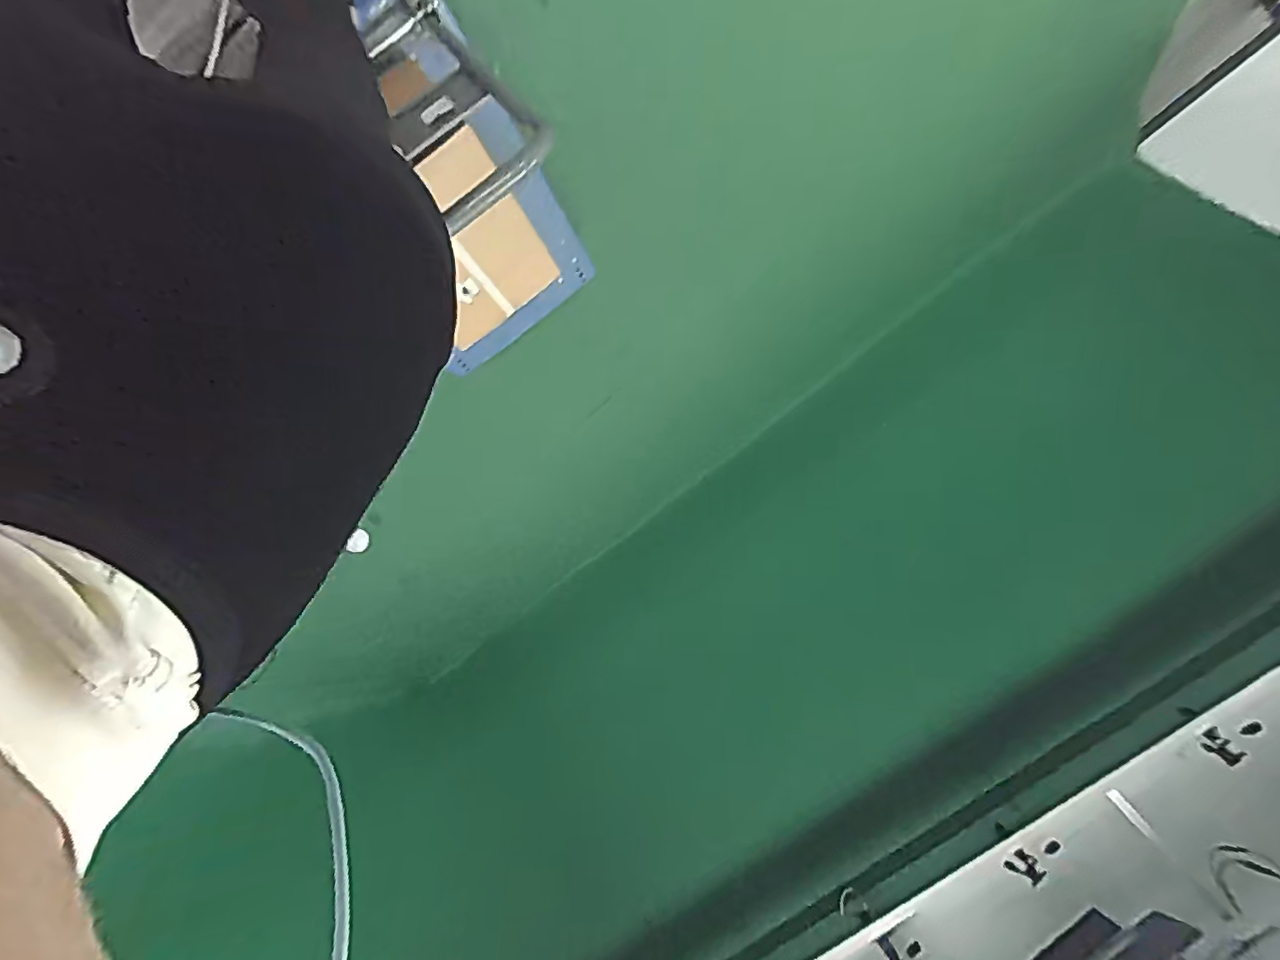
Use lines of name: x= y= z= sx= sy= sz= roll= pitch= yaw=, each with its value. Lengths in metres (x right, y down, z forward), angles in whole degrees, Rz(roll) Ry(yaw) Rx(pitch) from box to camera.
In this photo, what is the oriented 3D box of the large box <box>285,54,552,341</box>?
large box: x=-0.471 y=-0.601 z=1.204 sx=0.320 sy=0.320 sz=0.408 roll=-36 pitch=155 yaw=2
